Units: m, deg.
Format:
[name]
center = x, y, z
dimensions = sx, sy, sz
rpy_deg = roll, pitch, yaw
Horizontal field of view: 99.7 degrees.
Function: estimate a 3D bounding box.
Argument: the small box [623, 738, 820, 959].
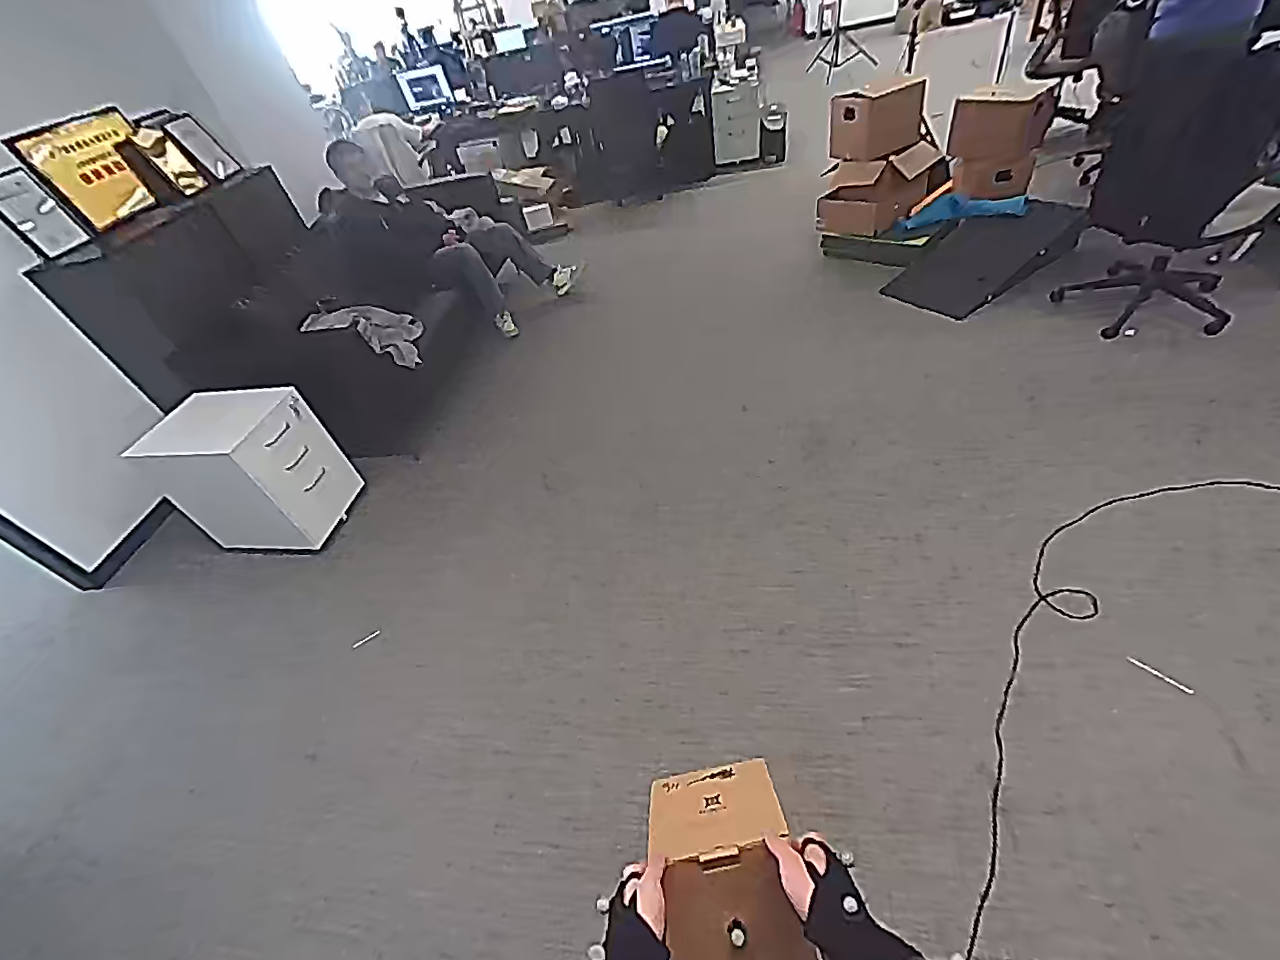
[small box]
center = 0.105, 0.475, 0.705
dimensions = 0.179, 0.176, 0.168
rpy_deg = -14, -2, -27
